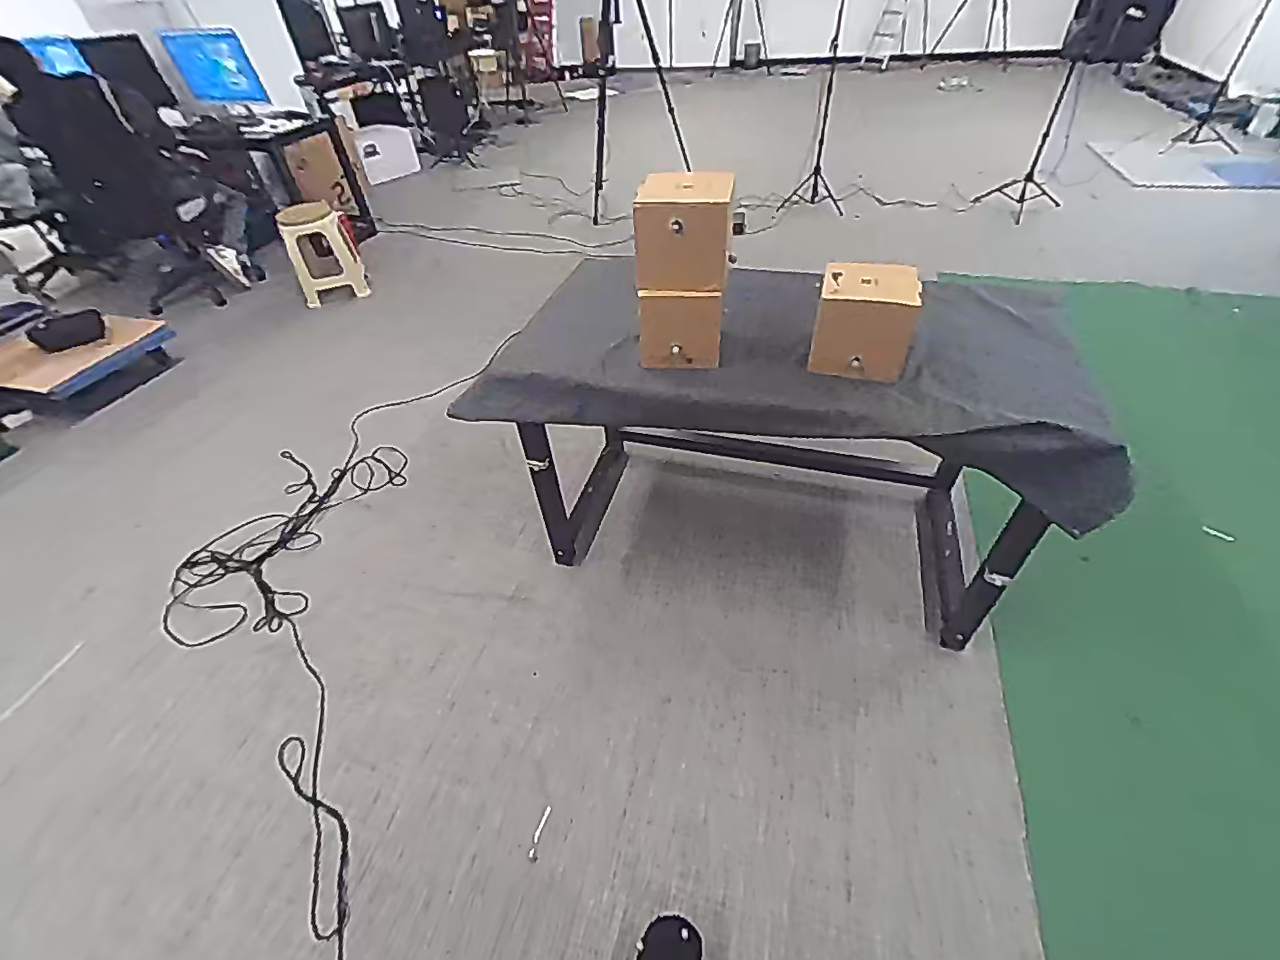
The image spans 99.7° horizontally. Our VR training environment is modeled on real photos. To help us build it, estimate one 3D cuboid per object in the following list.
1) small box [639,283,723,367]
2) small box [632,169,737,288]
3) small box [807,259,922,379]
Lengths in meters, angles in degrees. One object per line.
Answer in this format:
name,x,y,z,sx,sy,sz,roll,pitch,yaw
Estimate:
small box,0.091,-0.361,1.155,0.168,0.176,0.179,3,45,7
small box,0.090,-0.486,1.051,0.179,0.176,0.168,6,47,9
small box,0.447,-0.321,1.088,0.179,0.176,0.168,11,46,14
